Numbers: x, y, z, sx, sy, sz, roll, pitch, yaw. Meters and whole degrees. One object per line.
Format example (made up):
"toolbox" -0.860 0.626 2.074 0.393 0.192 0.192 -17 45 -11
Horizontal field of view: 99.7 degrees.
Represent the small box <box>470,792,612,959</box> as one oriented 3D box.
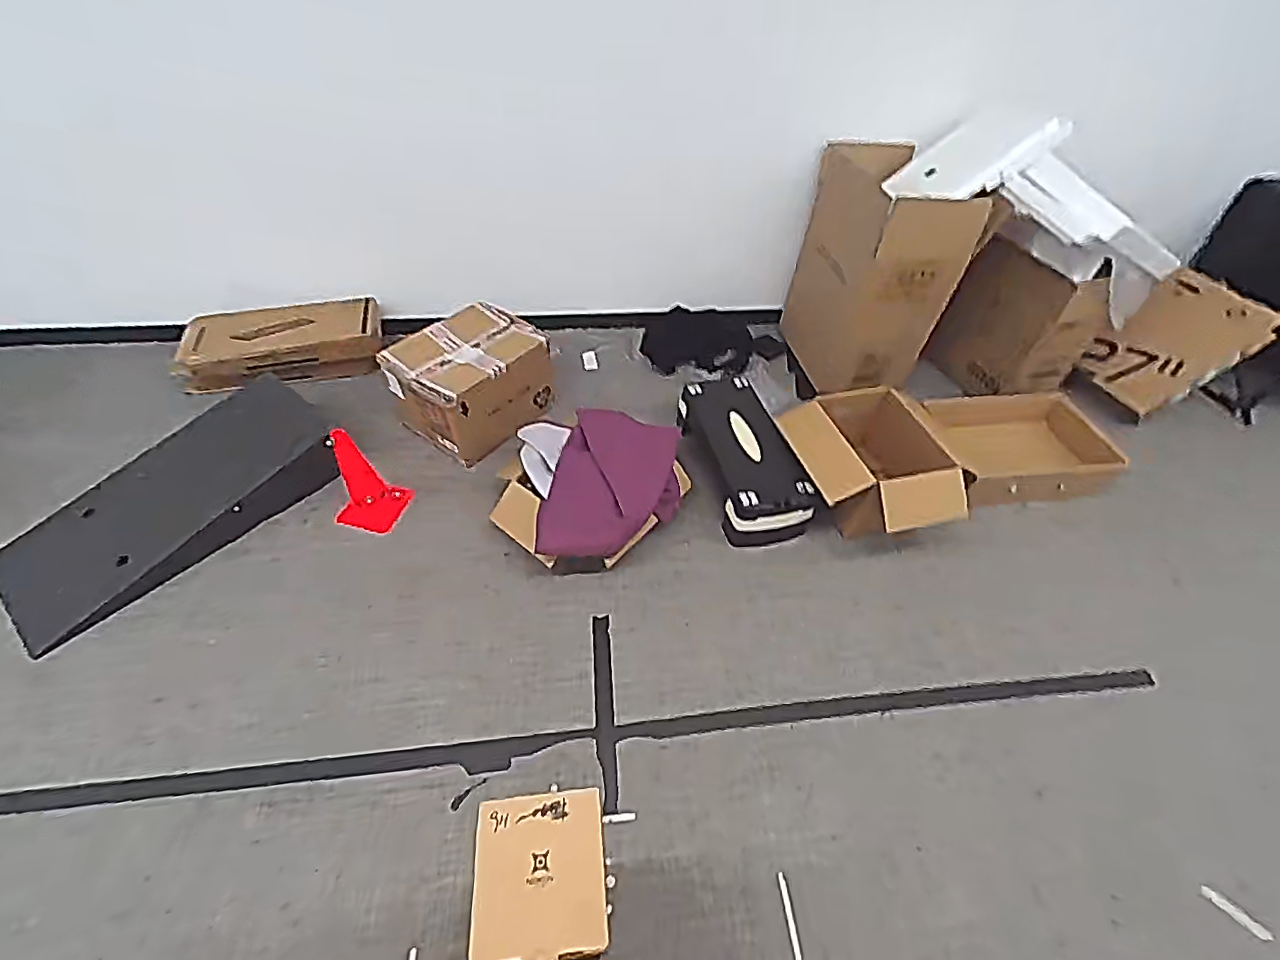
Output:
"small box" -0.126 0.552 0.745 0.168 0.176 0.179 -4 49 -5
